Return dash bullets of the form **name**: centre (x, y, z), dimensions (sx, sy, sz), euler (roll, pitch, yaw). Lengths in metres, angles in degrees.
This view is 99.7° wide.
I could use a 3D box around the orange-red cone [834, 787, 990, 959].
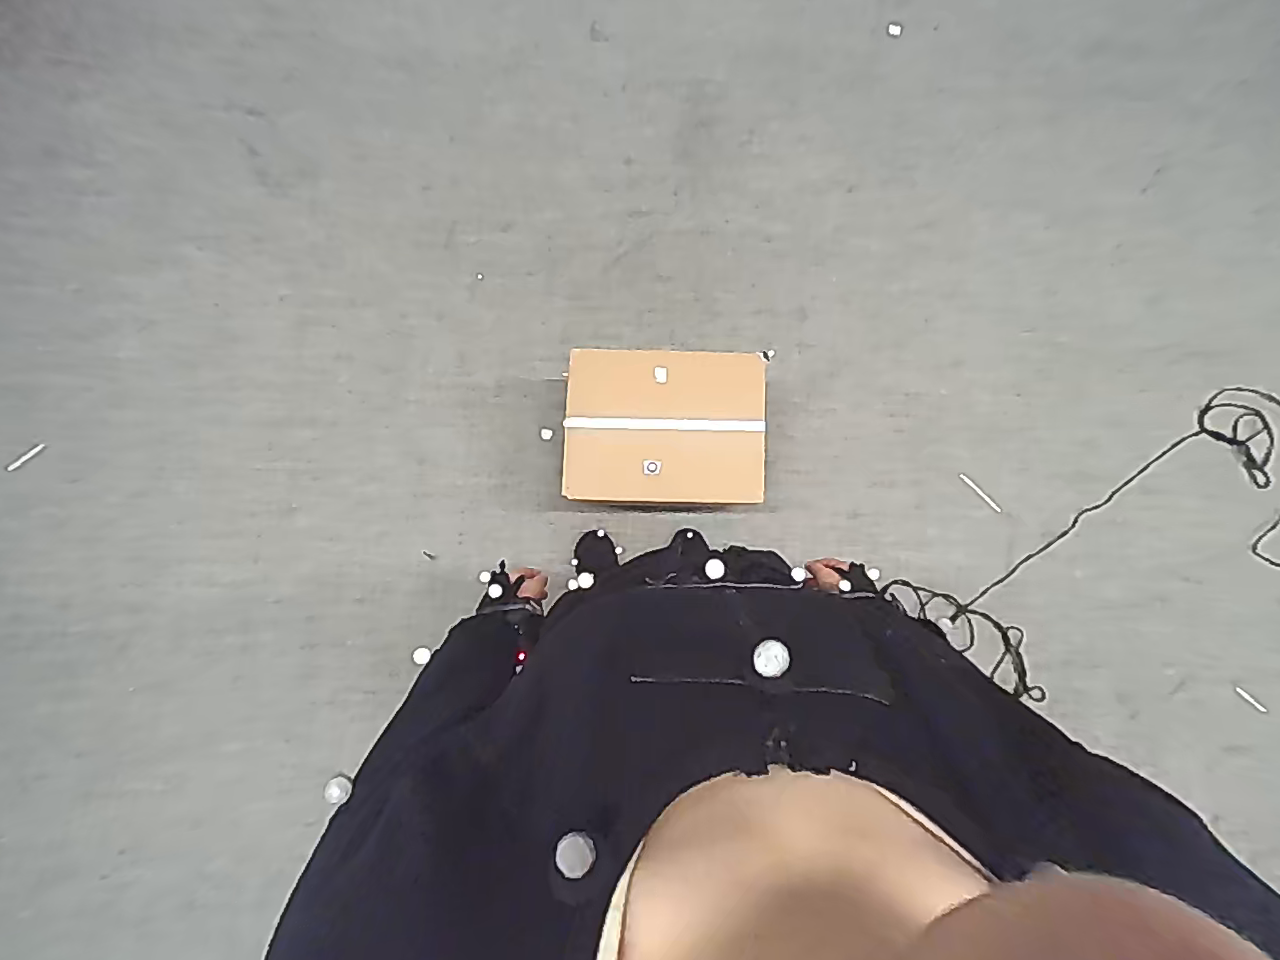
- **orange-red cone**: centre (0.587, 0.838, 1.118), dimensions (0.199, 0.360, 0.198), euler (21, 85, -1)
